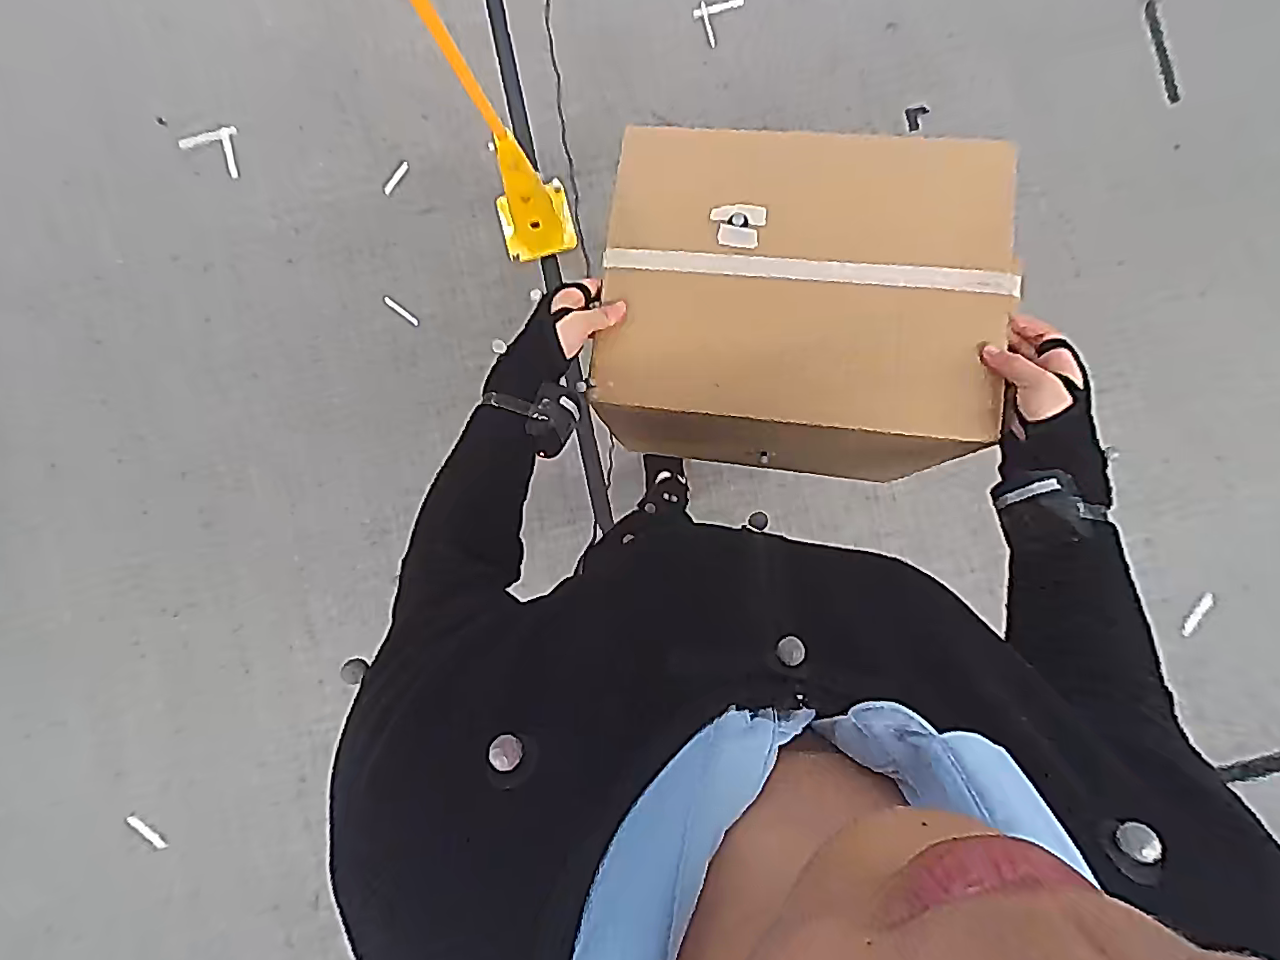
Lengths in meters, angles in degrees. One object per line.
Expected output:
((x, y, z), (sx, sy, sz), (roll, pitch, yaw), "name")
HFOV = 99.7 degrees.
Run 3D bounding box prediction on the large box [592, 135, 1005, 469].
((0.183, -0.200, 0.709), (0.408, 0.320, 0.320), (7, 82, 9), "large box")
